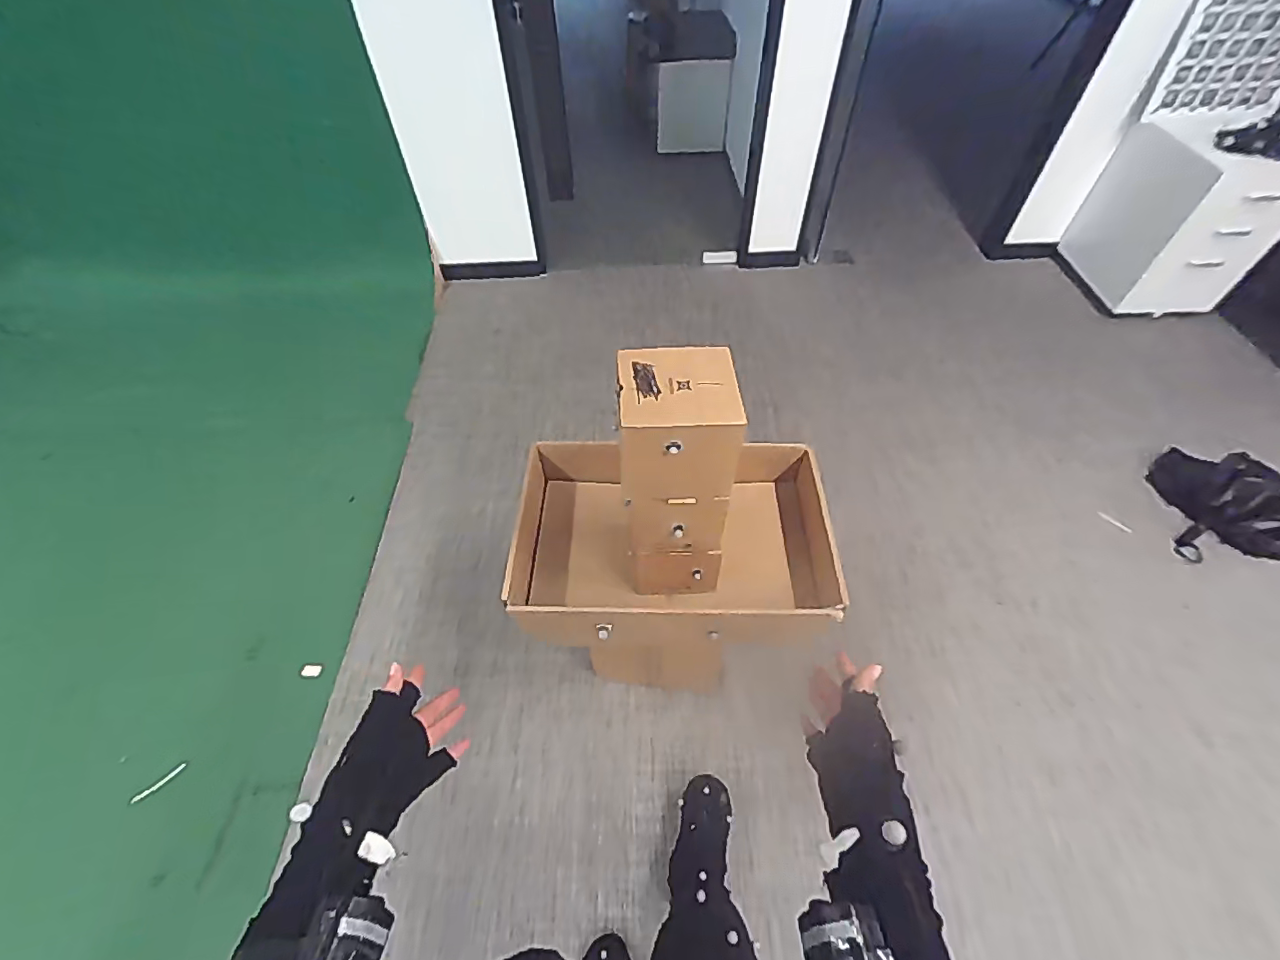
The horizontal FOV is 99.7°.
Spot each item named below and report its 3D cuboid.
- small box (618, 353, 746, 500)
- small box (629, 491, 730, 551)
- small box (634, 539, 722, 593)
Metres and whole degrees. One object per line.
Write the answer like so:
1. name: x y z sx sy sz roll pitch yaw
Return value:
1. small box: 0.057 -0.080 0.847 0.179 0.176 0.168 -1 52 -2
2. small box: 0.064 0.019 0.980 0.168 0.176 0.179 -1 53 -1
3. small box: 0.072 0.122 1.107 0.168 0.176 0.179 -1 50 -1
